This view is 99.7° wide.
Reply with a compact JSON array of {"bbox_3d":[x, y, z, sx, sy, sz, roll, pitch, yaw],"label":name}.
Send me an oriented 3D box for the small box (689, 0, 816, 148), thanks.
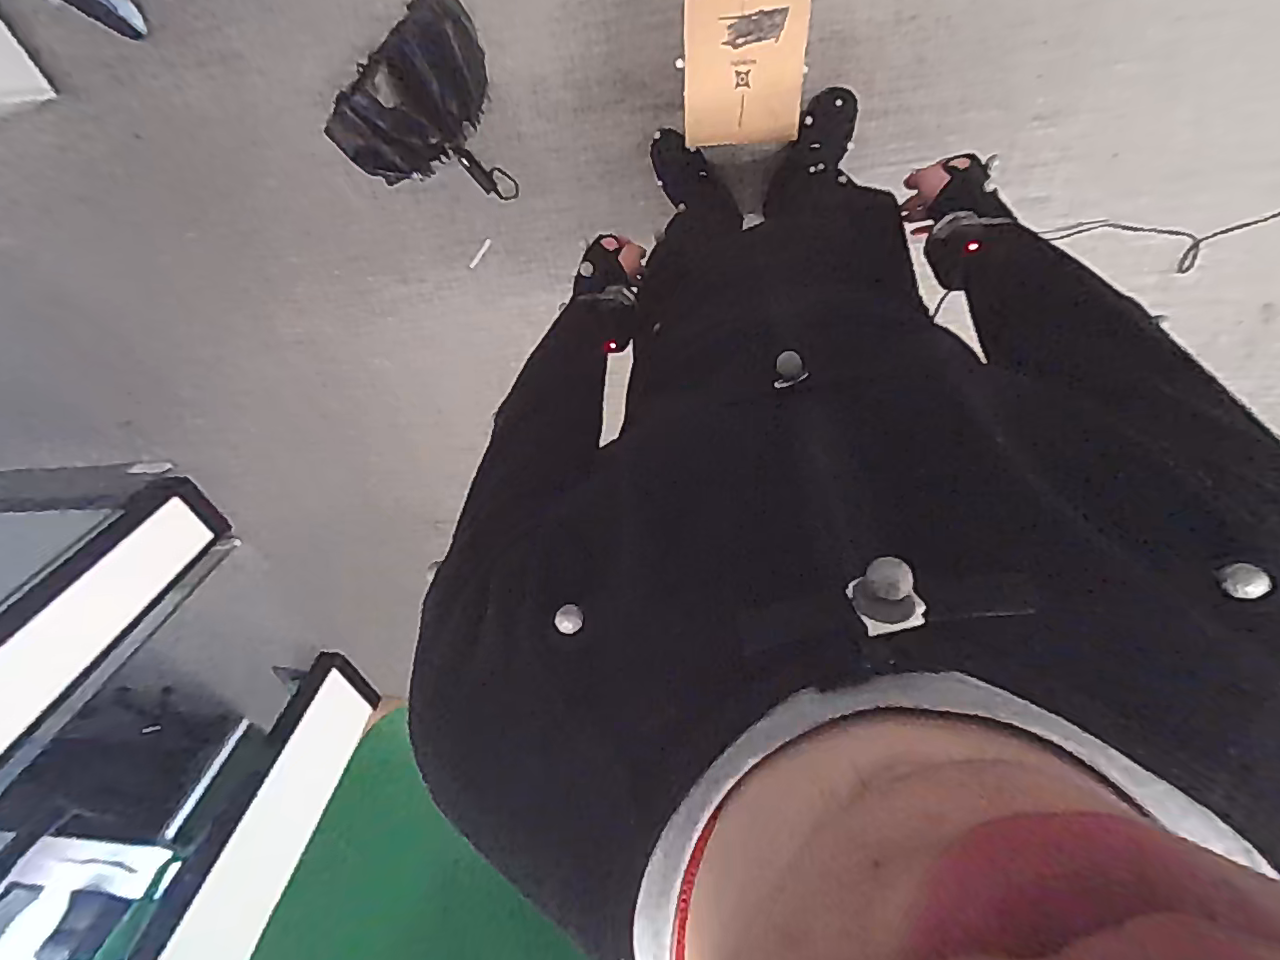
[{"bbox_3d":[0.158,-0.616,0.812,0.168,0.176,0.179,1,131,7],"label":"small box"}]
